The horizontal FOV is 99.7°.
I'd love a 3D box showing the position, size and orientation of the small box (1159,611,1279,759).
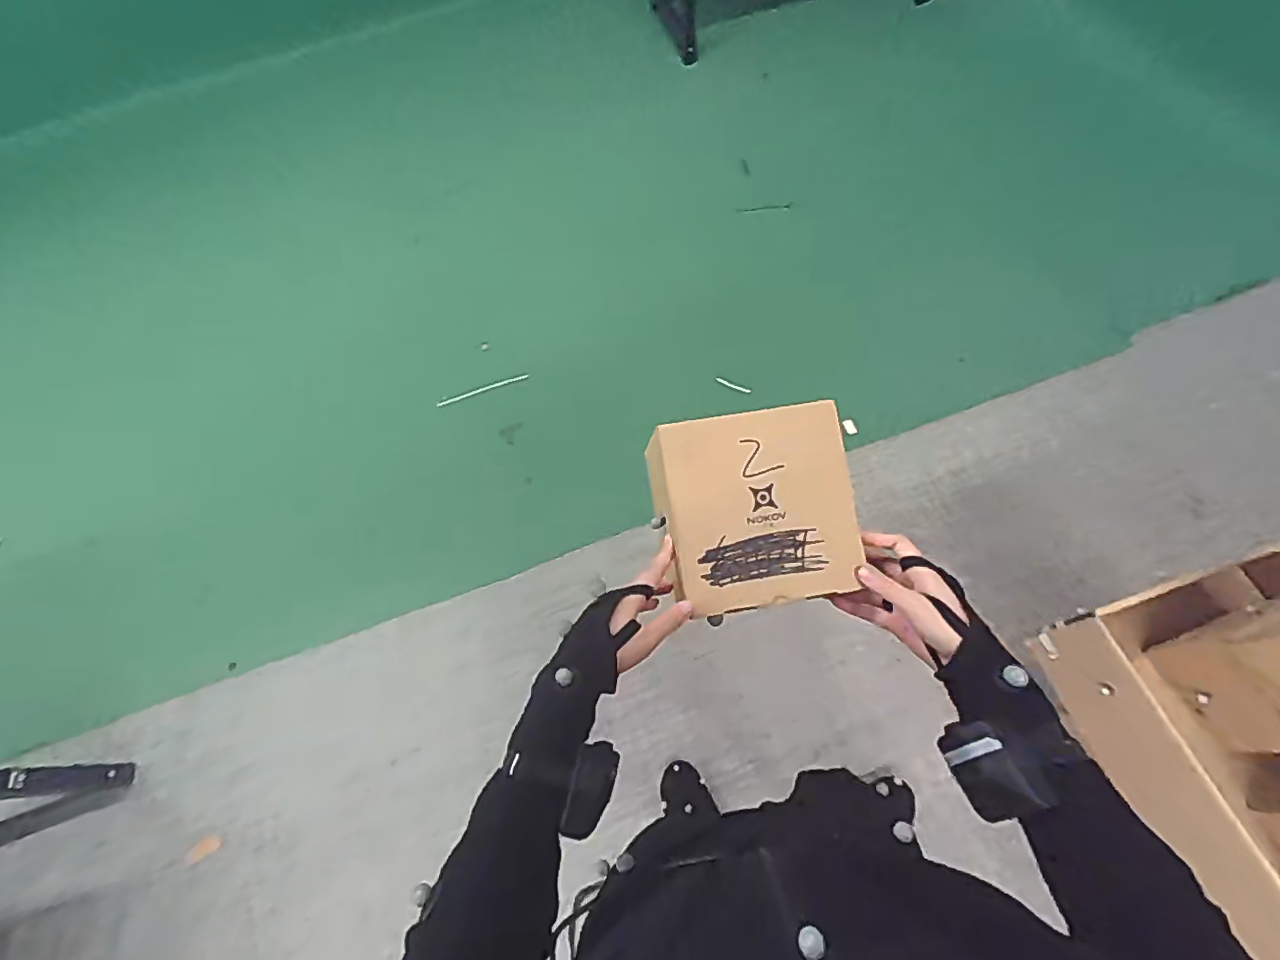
[{"bbox_3d":[0.959,0.299,0.806,0.179,0.176,0.168,-22,64,-4],"label":"small box"}]
